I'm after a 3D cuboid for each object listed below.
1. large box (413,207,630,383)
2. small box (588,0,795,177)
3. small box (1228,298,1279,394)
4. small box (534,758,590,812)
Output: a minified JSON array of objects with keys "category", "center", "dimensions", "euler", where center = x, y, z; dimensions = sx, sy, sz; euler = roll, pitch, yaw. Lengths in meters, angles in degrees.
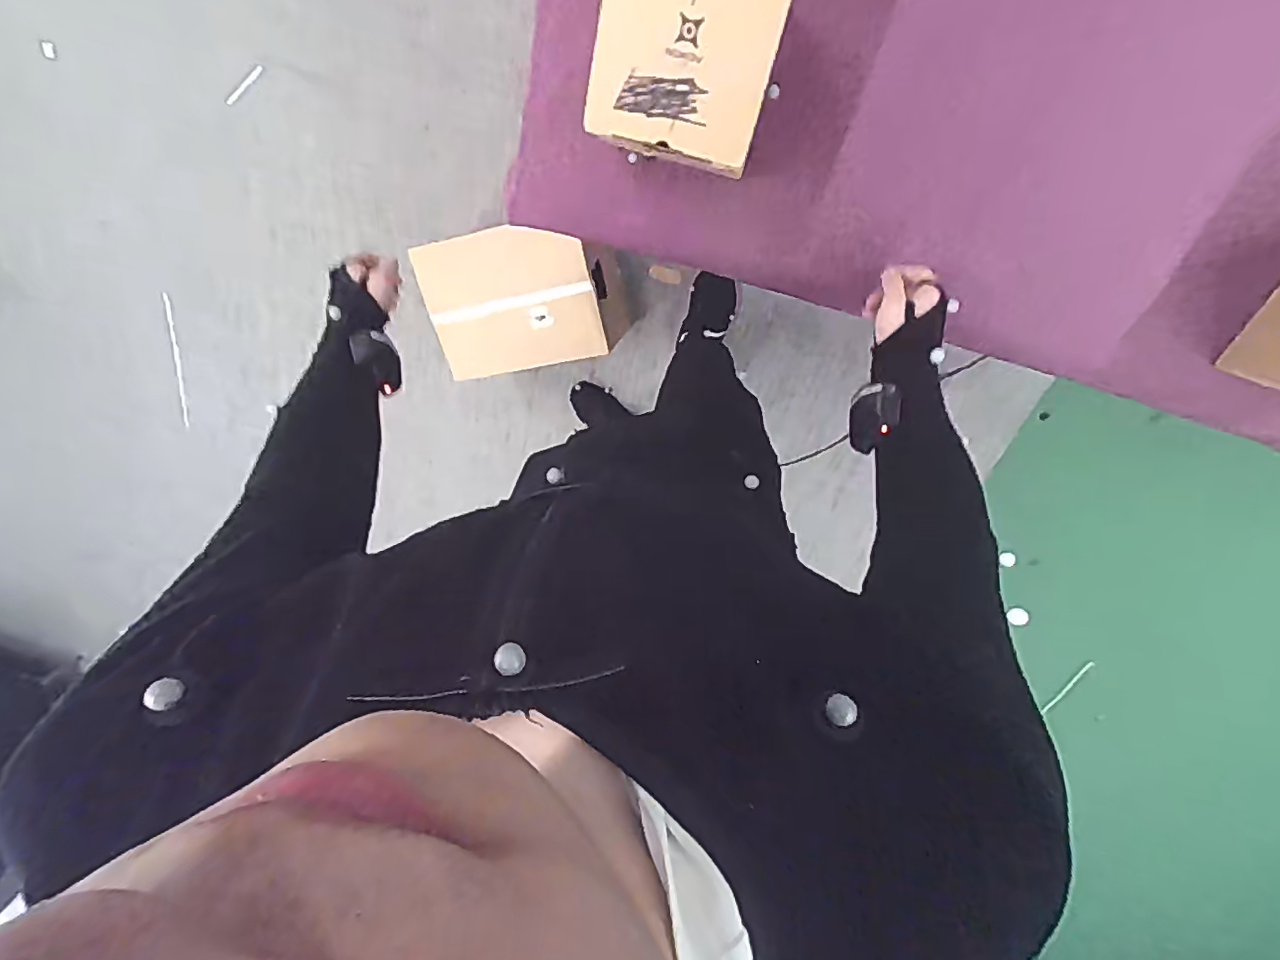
[{"category":"large box","center":[-0.267,-0.465,1.354],"dimensions":[0.408,0.320,0.320],"euler":[-8,115,12]},{"category":"small box","center":[0.057,-0.434,0.564],"dimensions":[0.168,0.176,0.179],"euler":[16,116,1]},{"category":"small box","center":[0.816,-0.154,0.572],"dimensions":[0.168,0.176,0.179],"euler":[20,115,1]},{"category":"small box","center":[-0.325,1.321,2.279],"dimensions":[0.168,0.176,0.179],"euler":[24,117,1]}]
